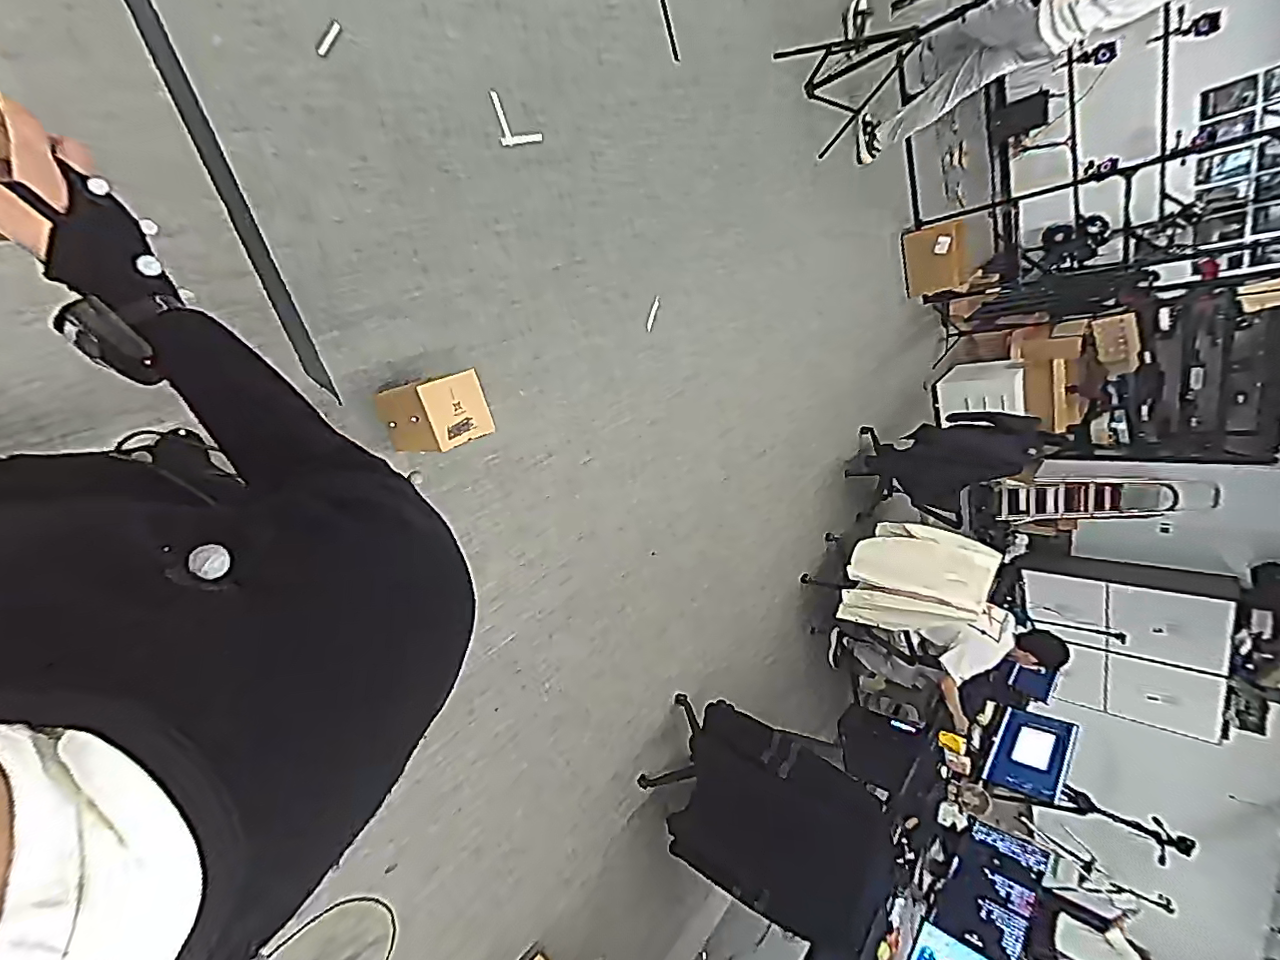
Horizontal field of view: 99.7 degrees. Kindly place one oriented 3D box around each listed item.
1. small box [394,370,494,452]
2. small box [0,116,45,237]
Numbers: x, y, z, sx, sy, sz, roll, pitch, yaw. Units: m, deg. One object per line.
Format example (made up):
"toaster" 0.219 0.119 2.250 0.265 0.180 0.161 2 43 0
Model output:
"small box" -0.525 -0.184 1.446 0.168 0.176 0.179 -31 113 -38
"small box" -0.607 -0.269 0.399 0.179 0.176 0.168 -29 126 -45
